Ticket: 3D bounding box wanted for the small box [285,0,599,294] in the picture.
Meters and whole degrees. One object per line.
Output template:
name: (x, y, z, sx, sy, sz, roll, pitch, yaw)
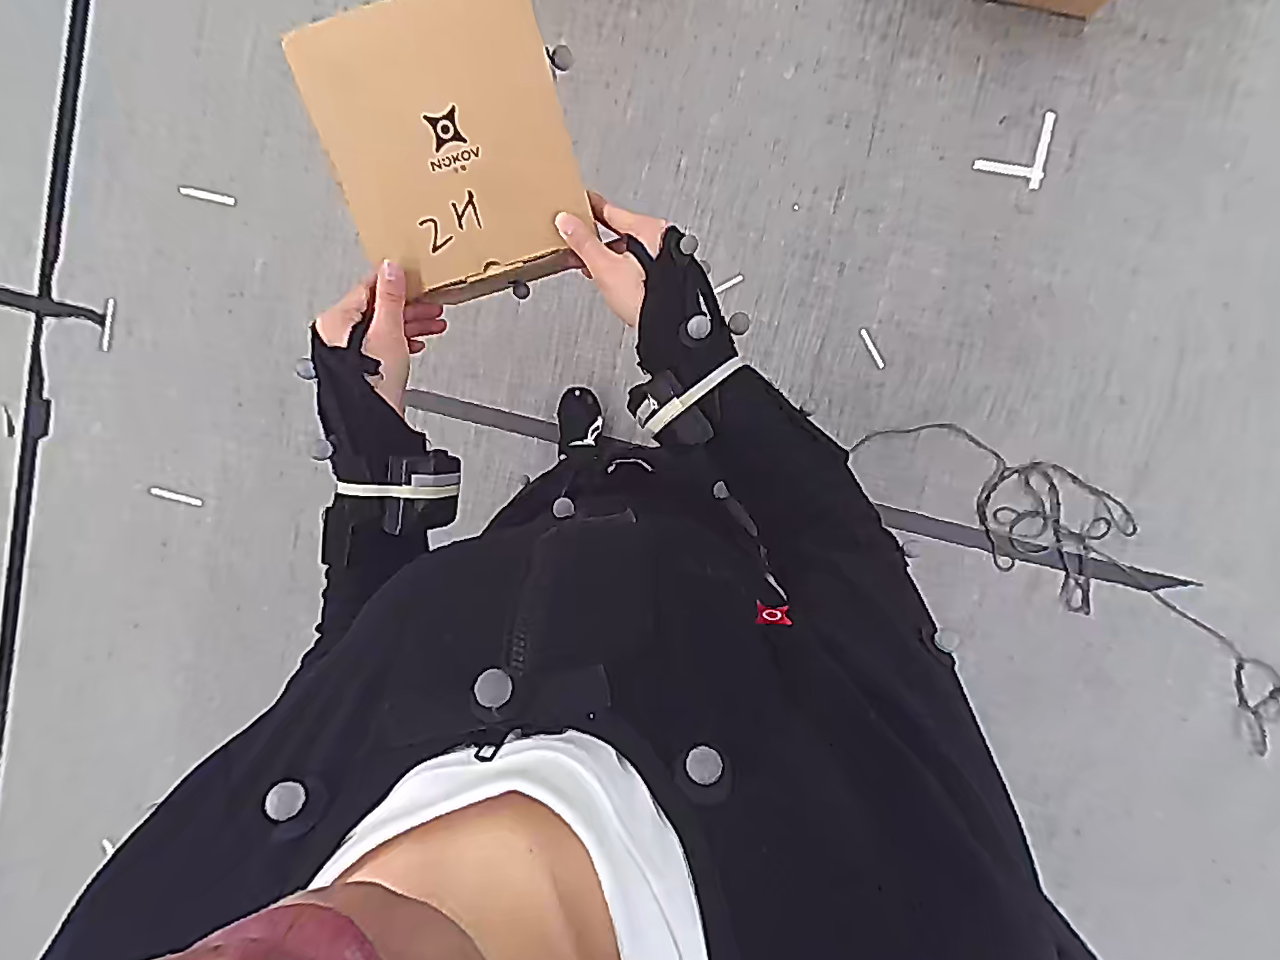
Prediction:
small box: (-0.135, -0.264, 0.447, 0.168, 0.176, 0.179, -15, 108, 2)
